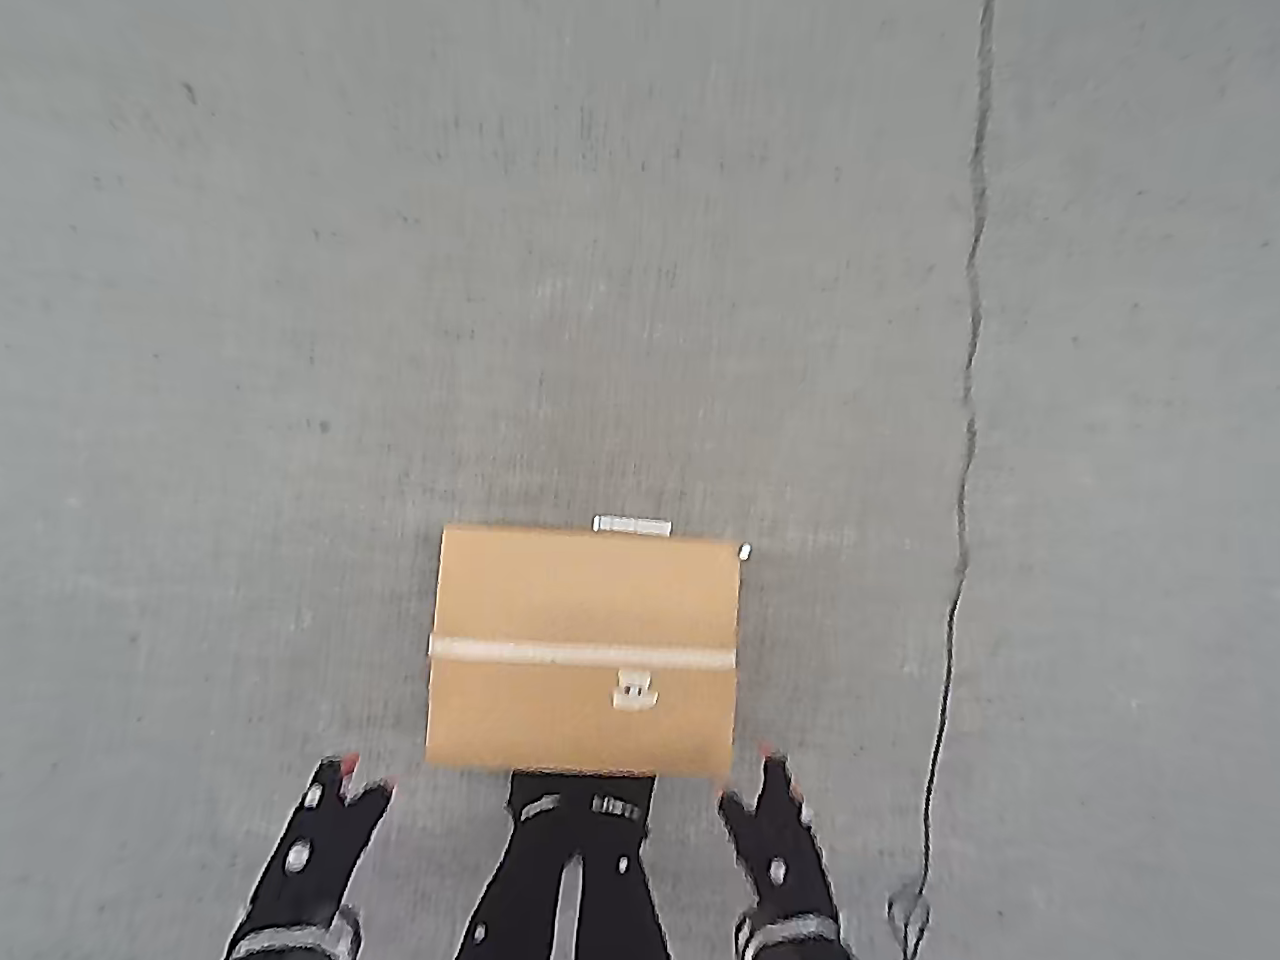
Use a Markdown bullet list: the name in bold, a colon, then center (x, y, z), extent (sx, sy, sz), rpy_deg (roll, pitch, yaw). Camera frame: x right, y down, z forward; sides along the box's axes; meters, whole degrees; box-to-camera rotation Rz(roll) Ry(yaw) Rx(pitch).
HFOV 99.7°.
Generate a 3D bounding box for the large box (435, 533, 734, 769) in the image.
- **large box**: center (-0.083, 0.250, 0.892), extent (0.408, 0.320, 0.320), rpy_deg (4, 86, -4)
